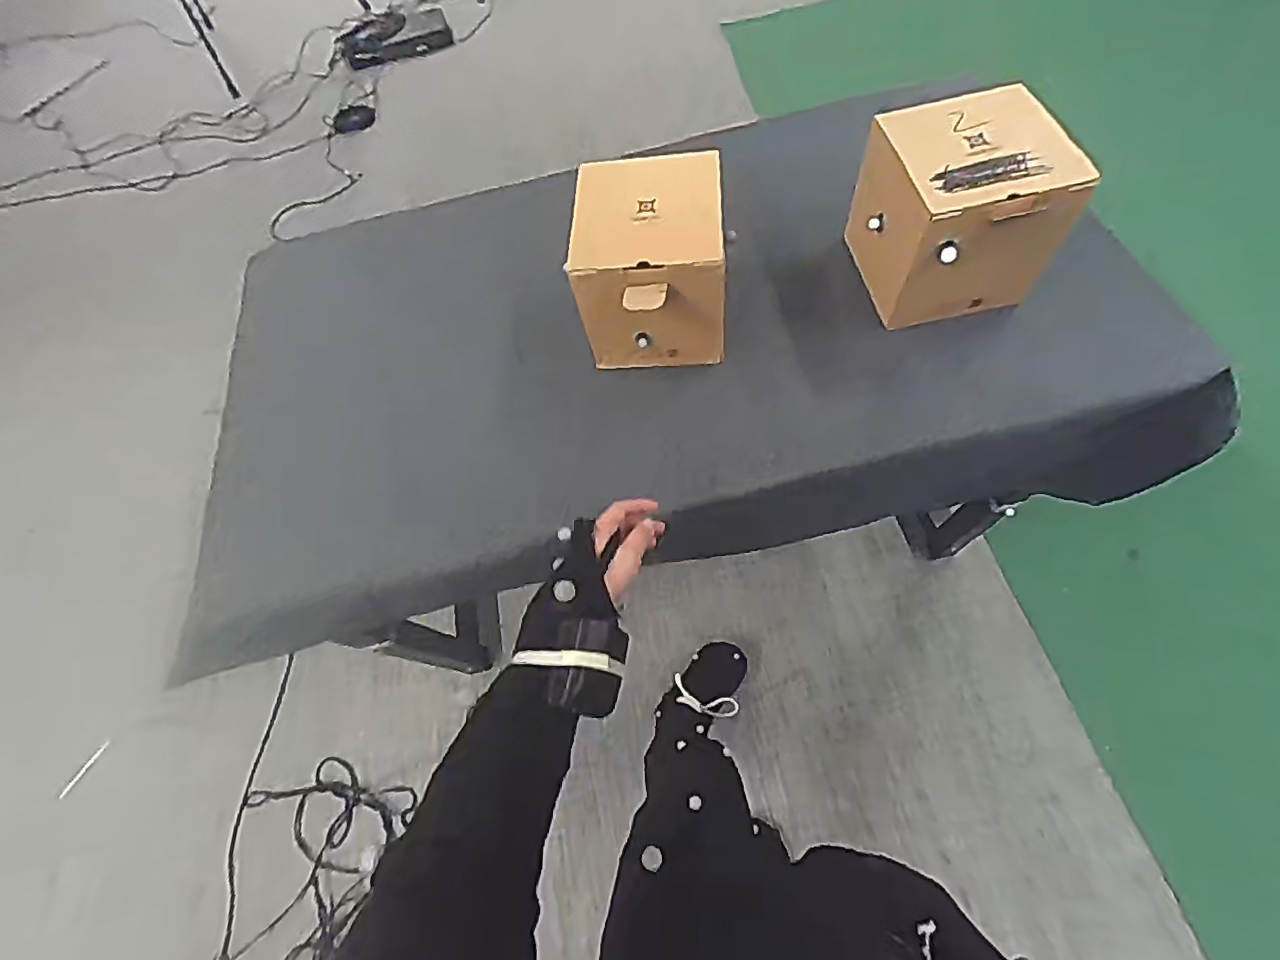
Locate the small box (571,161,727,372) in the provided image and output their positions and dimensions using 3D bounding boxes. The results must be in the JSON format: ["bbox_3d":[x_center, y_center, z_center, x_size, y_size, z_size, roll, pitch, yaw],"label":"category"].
[{"bbox_3d":[0.020,-0.255,0.668,0.168,0.176,0.179,-1,65,7],"label":"small box"}]
